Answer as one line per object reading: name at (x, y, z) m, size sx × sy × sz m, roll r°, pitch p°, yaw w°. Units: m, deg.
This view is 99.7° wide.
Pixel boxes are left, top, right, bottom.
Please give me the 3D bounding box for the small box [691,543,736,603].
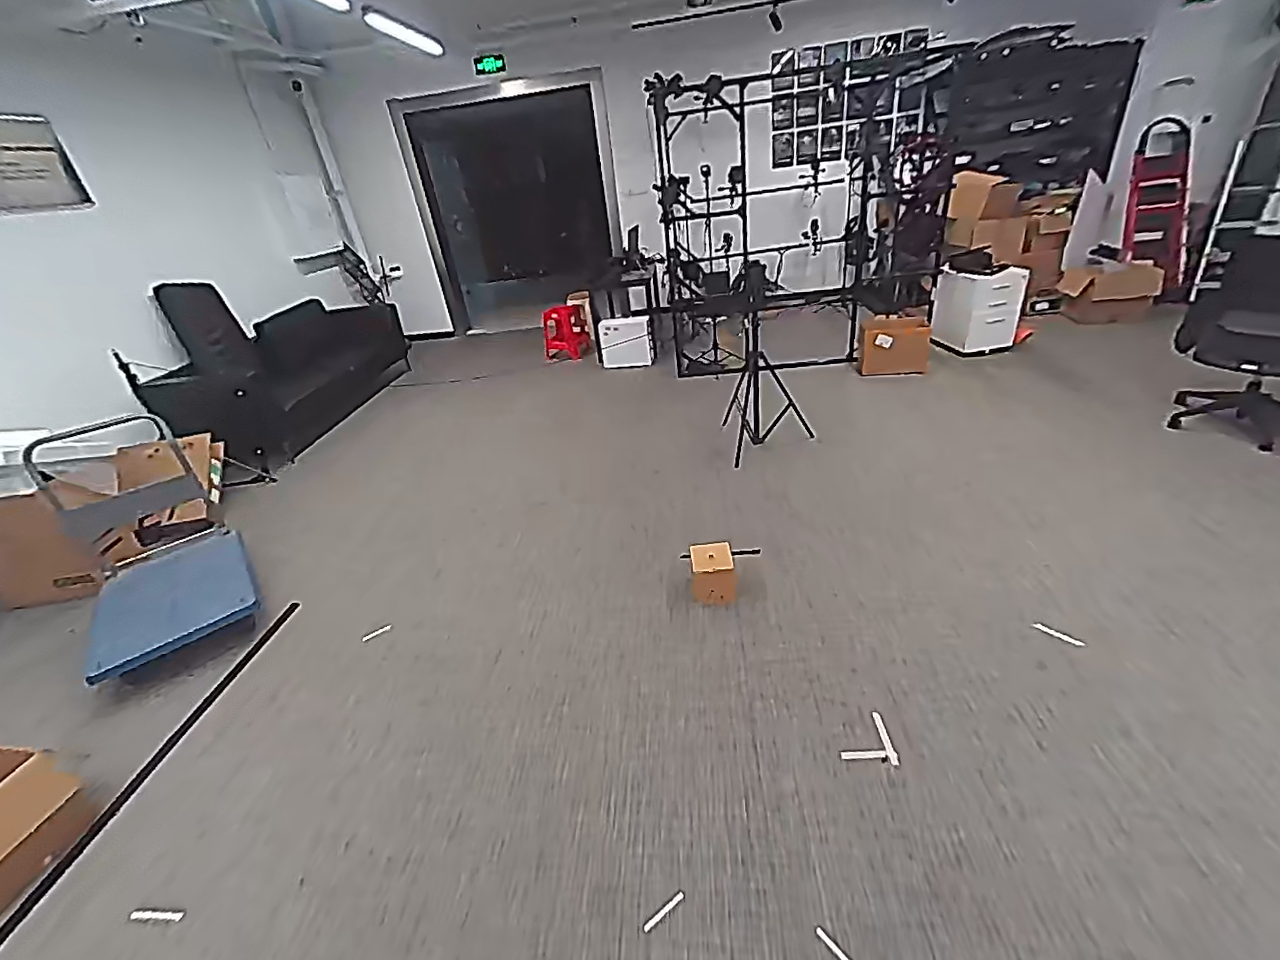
small box at (0.303, 0.388, 2.250) m, size 0.168 × 0.176 × 0.179 m, roll -7°, pitch 30°, yaw 2°
